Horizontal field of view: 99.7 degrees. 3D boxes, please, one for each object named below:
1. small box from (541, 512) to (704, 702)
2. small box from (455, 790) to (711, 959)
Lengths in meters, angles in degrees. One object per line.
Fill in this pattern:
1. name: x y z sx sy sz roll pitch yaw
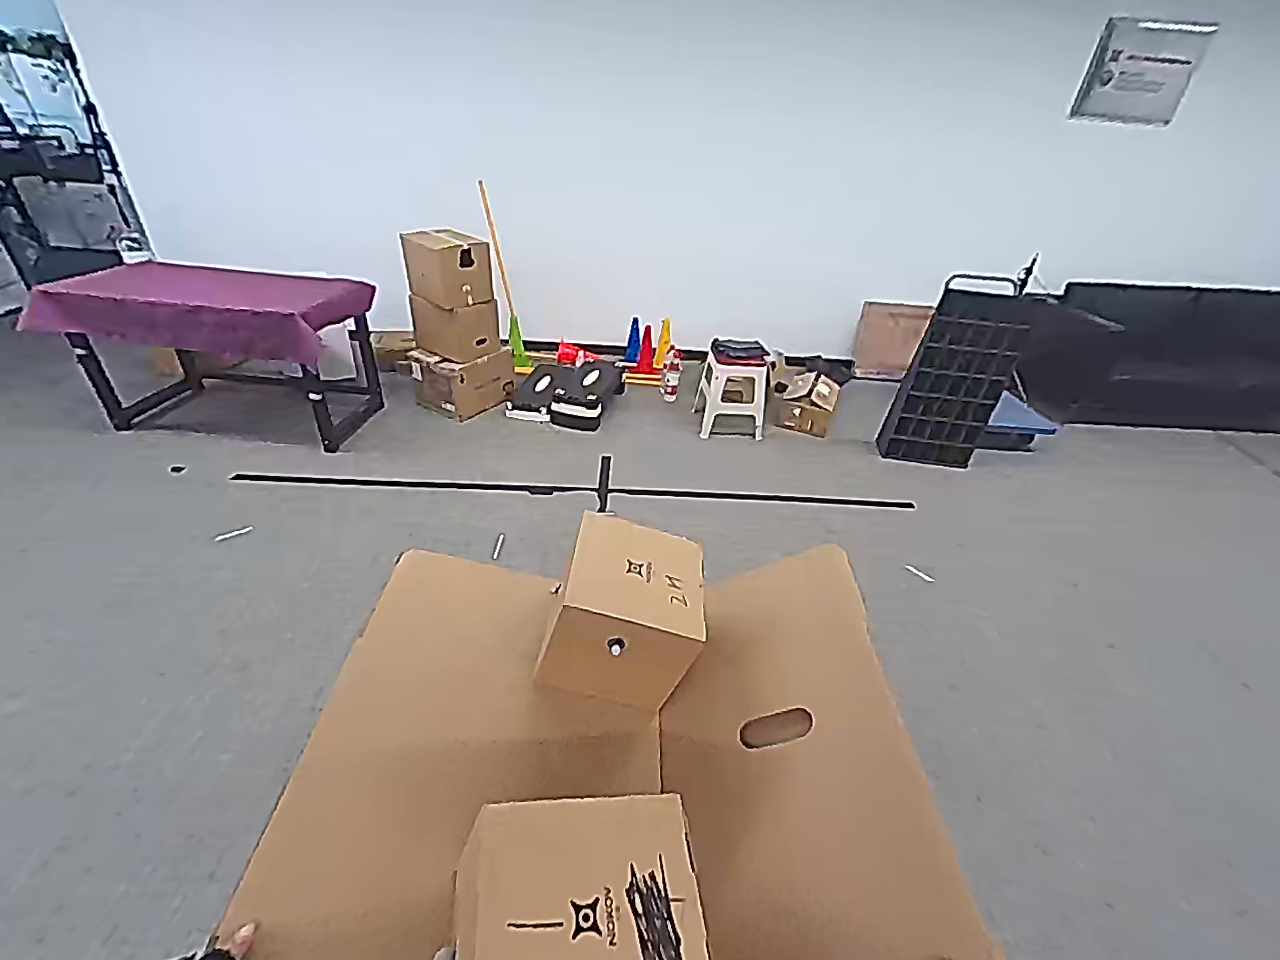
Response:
1. small box: -0.024 0.177 0.740 0.179 0.176 0.168 18 37 -8
2. small box: -0.058 0.386 0.463 0.179 0.176 0.168 9 39 -19
